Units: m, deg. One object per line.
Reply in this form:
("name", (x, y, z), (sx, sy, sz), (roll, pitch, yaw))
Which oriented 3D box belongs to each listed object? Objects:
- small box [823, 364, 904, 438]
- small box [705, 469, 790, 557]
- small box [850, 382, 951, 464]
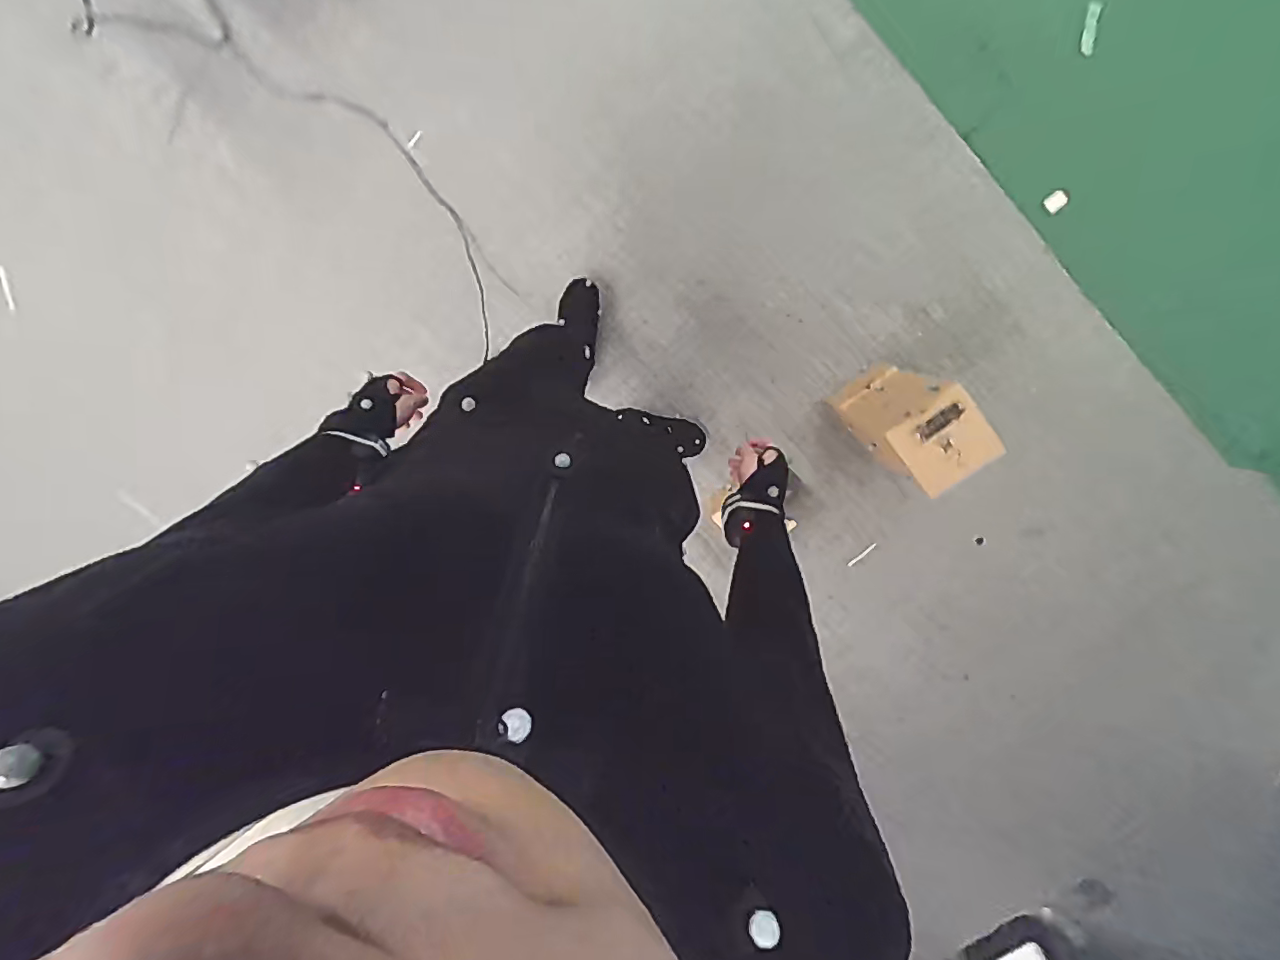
("small box", (0.621, -0.194, 1.451), (0.168, 0.176, 0.179), (-37, 100, 13))
("small box", (0.299, 0.084, 1.553), (0.168, 0.176, 0.179), (-40, 97, 14))
("small box", (0.622, -0.142, 1.304), (0.179, 0.176, 0.168), (-6, 102, 6))
